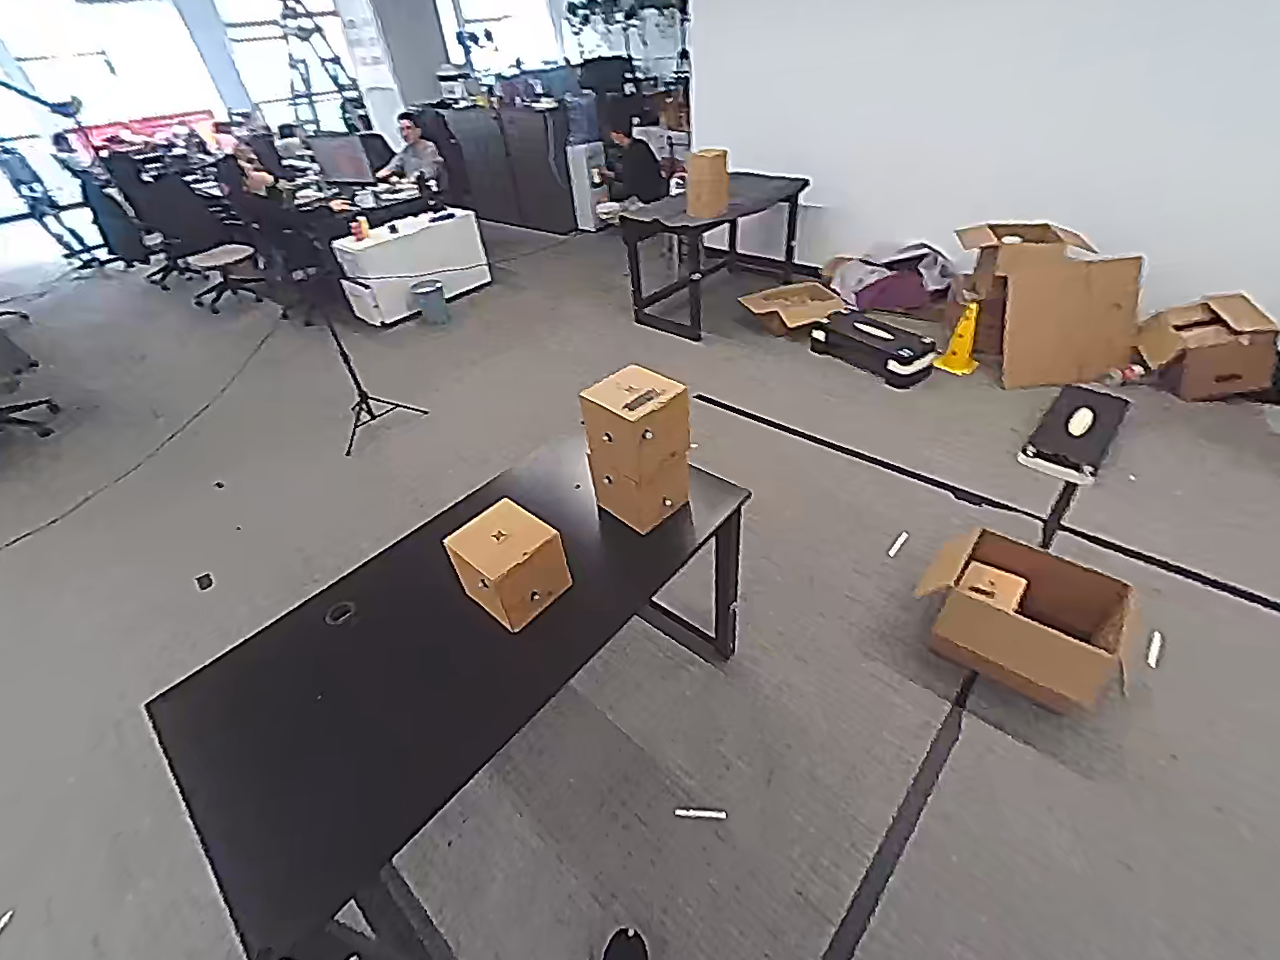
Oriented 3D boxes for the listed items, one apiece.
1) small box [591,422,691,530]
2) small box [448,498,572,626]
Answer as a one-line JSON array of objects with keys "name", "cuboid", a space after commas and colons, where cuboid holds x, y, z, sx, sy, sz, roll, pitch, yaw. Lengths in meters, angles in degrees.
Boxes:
[{"name": "small box", "cuboid": [0.006, -0.009, 1.312, 0.168, 0.176, 0.179, -35, 48, -28]}, {"name": "small box", "cuboid": [-0.268, 0.173, 1.138, 0.179, 0.176, 0.168, 27, 50, 33]}]
